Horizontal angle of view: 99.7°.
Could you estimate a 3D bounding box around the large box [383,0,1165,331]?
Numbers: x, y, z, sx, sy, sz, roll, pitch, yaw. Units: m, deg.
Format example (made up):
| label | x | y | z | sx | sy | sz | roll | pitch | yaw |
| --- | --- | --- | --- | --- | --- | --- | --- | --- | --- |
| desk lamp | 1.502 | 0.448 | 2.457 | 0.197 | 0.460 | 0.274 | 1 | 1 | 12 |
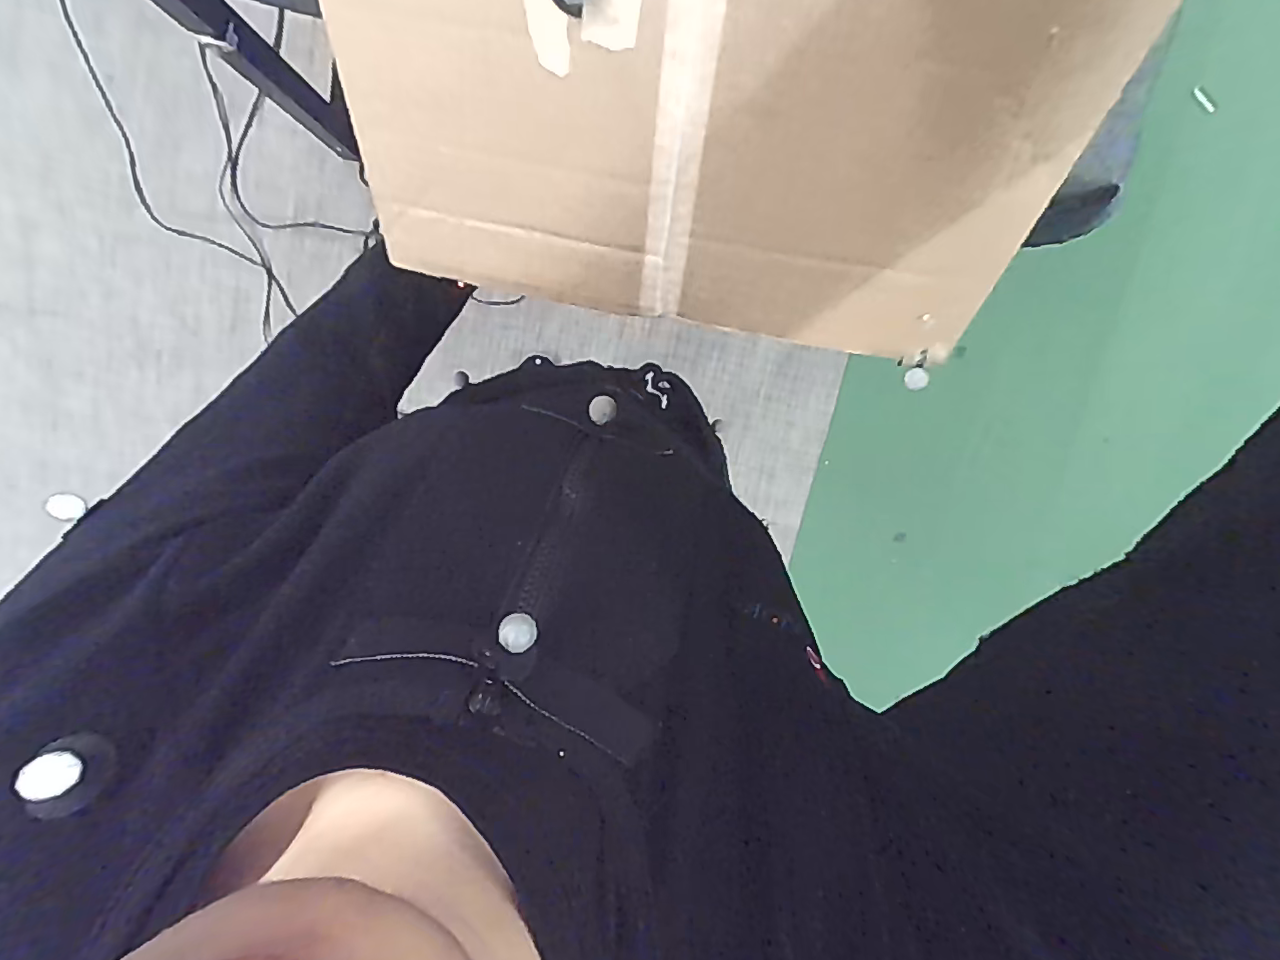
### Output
| label | x | y | z | sx | sy | sz | roll | pitch | yaw |
| --- | --- | --- | --- | --- | --- | --- | --- | --- | --- |
| large box | 0.068 | -0.347 | 0.255 | 0.320 | 0.320 | 0.408 | 11 | 142 | 3 |
